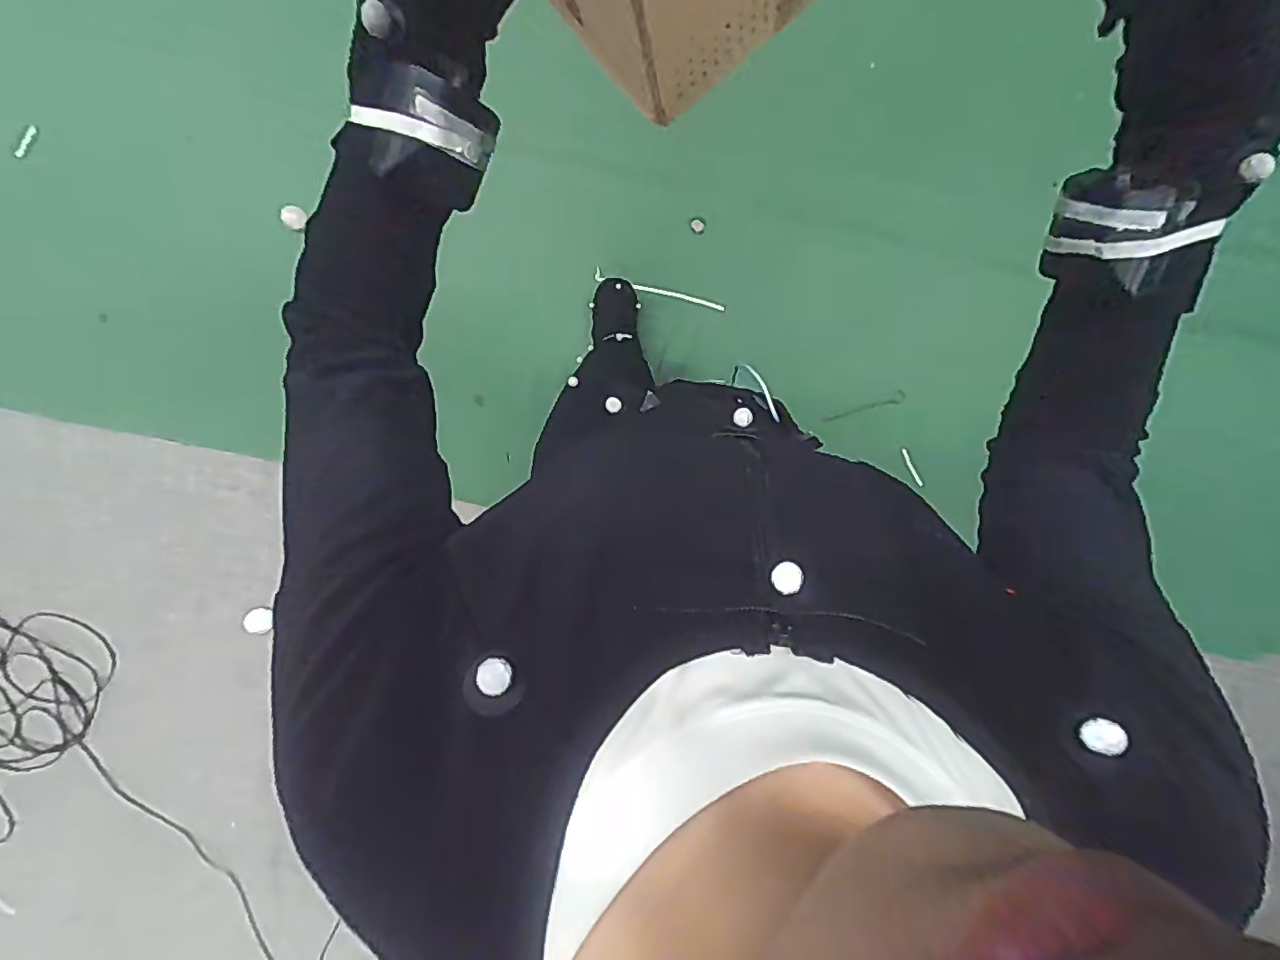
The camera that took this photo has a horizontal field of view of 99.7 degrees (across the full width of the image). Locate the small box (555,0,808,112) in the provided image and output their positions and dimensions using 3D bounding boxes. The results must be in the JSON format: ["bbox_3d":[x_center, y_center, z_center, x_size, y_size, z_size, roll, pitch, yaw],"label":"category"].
[{"bbox_3d":[0.018,-0.273,0.159,0.179,0.176,0.168,-37,83,7],"label":"small box"}]
